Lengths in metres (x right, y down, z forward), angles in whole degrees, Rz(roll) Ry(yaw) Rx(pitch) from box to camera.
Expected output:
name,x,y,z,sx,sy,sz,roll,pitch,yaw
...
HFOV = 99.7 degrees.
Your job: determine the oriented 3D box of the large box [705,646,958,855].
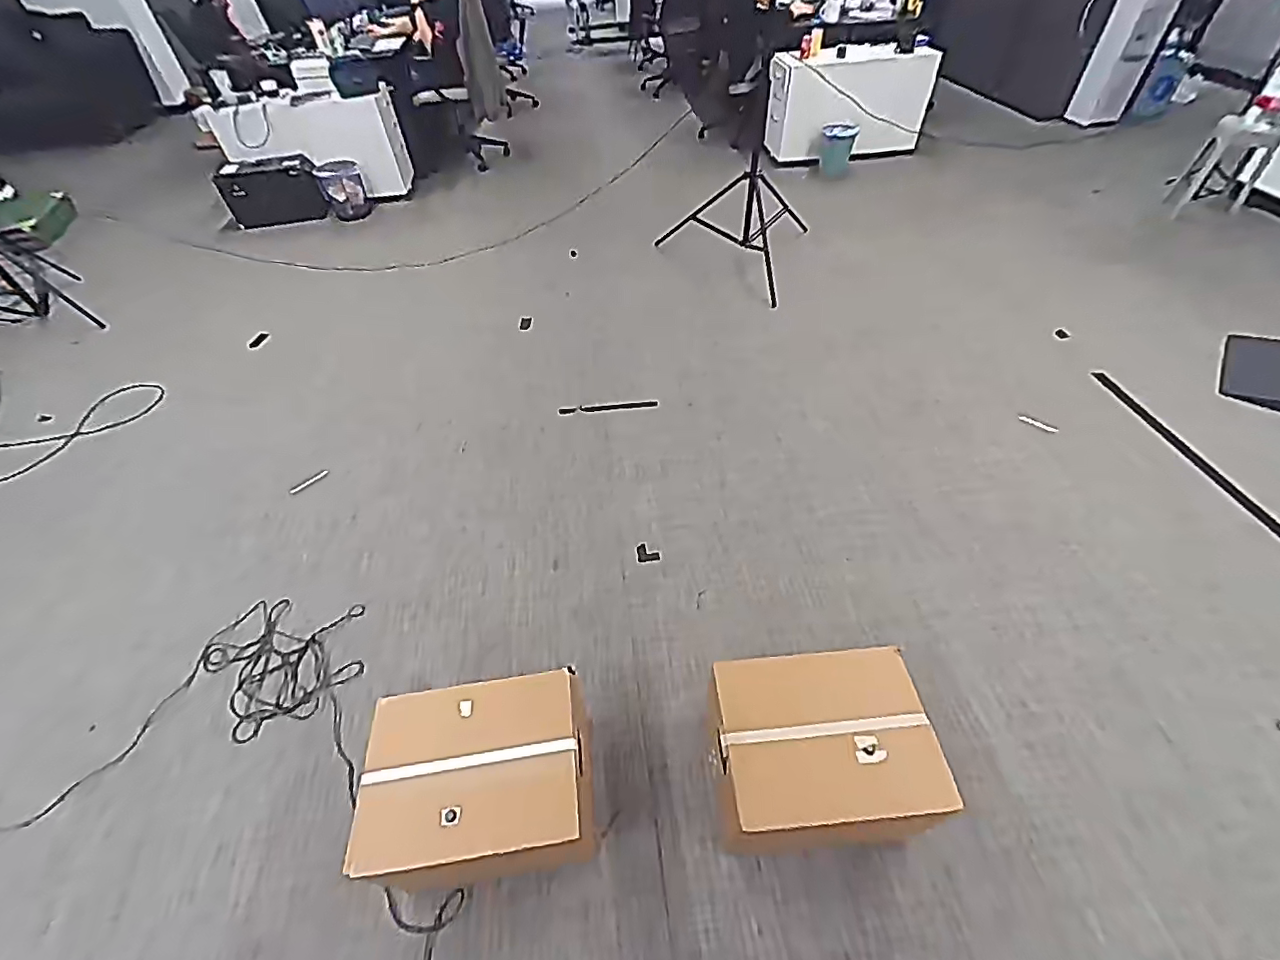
name,x,y,z,sx,sy,sz,roll,pitch,yaw
large box,0.372,0.591,1.179,0.408,0.320,0.320,-4,48,-2
